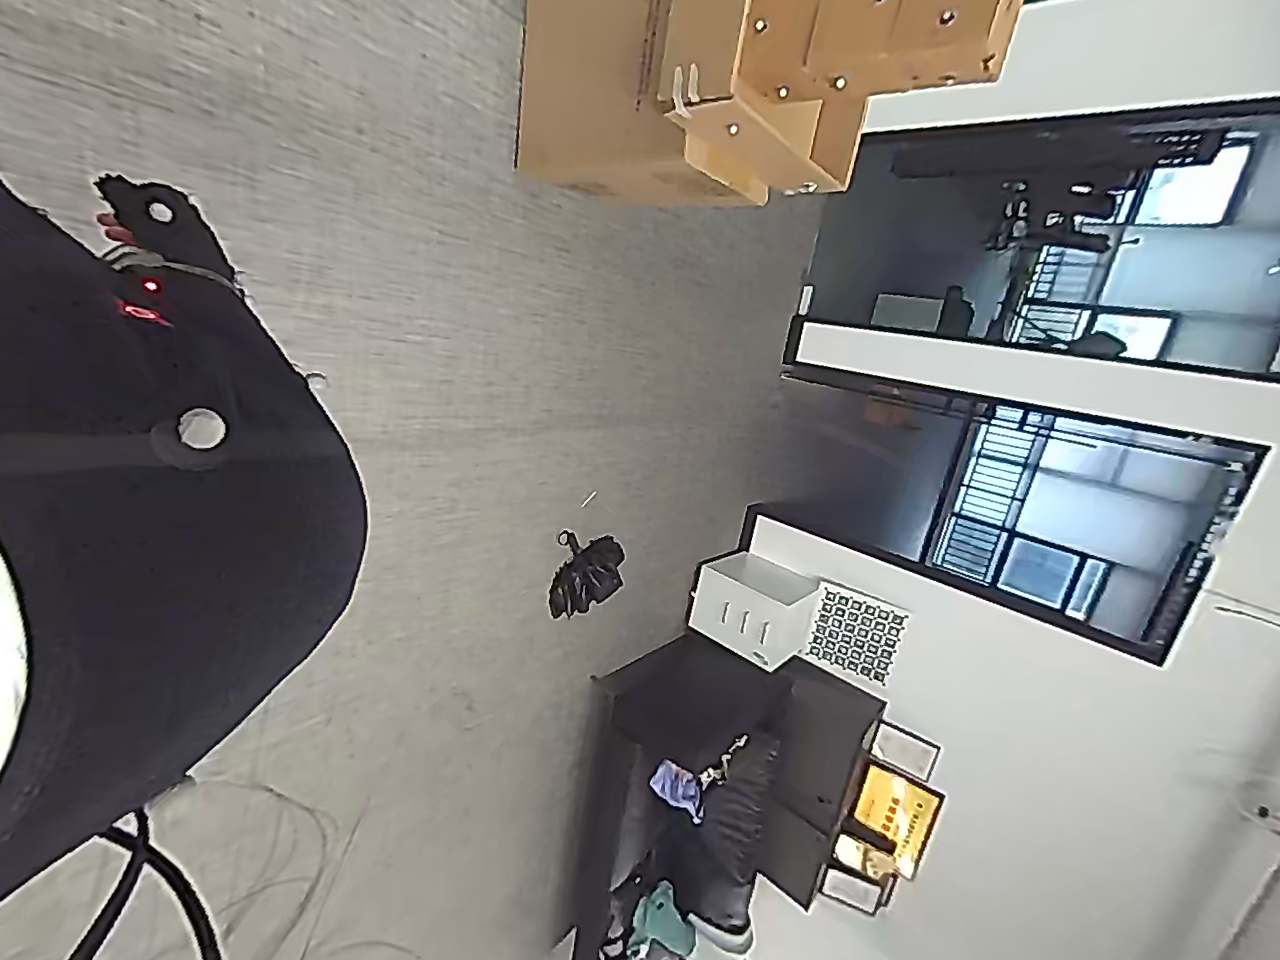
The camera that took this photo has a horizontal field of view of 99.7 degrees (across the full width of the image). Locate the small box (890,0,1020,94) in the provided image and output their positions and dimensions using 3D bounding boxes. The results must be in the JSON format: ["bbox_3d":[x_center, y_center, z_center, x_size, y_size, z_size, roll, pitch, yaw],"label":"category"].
[{"bbox_3d":[0.584,-0.852,1.007,0.168,0.176,0.179,-13,117,-51],"label":"small box"}]

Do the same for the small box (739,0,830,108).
[{"bbox_3d":[0.339,-0.953,1.197,0.168,0.176,0.179,-12,118,-51],"label":"small box"}]

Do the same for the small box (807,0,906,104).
[{"bbox_3d":[0.461,-0.902,1.100,0.168,0.176,0.179,-7,114,-51],"label":"small box"}]
